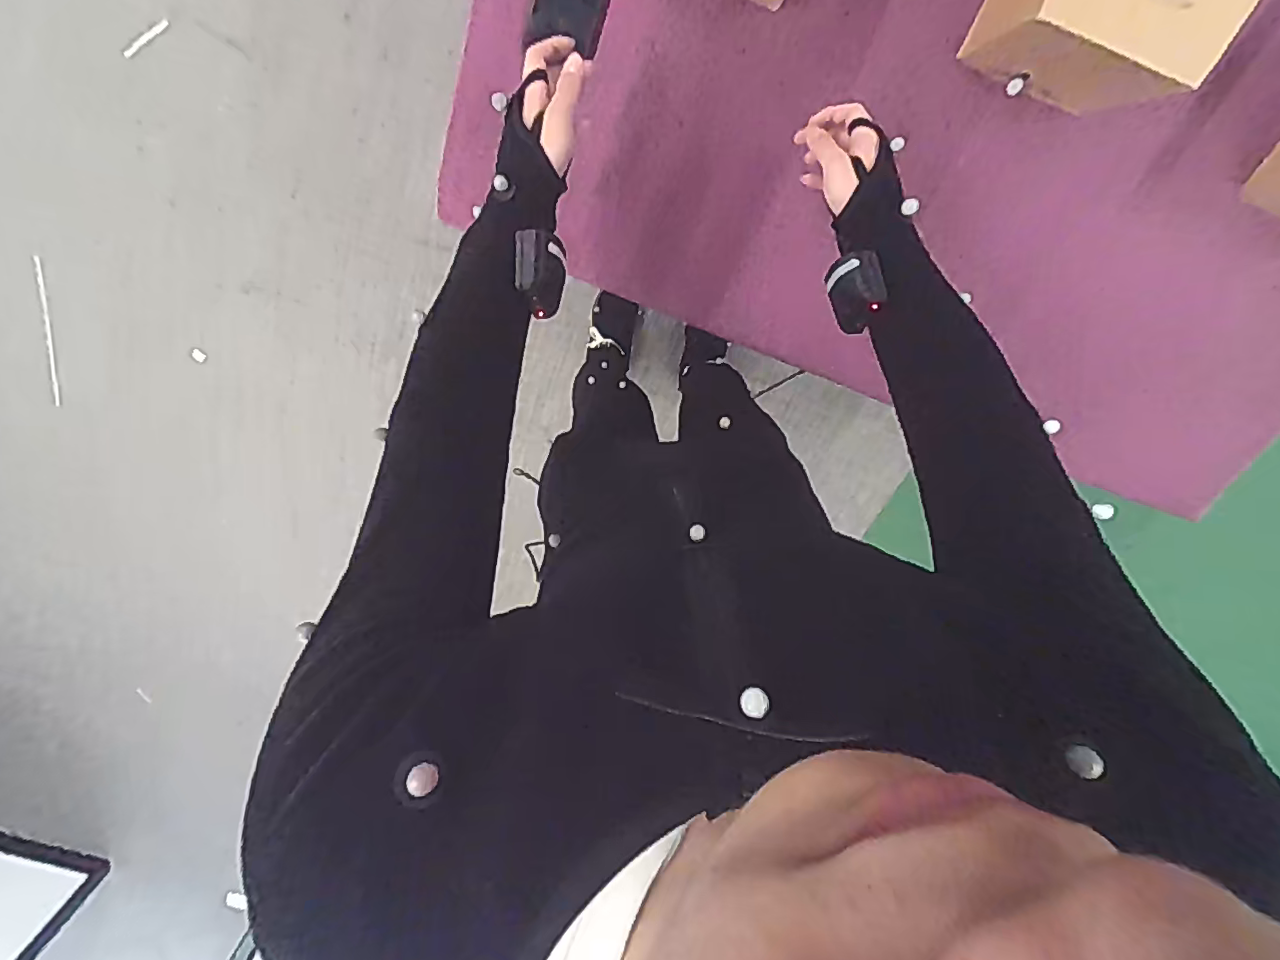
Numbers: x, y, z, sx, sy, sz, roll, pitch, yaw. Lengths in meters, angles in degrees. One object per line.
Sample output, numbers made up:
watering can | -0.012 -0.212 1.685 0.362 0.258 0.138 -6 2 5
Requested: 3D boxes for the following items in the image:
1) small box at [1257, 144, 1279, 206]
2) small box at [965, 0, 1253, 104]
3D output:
small box | 0.810 -0.351 0.533 0.168 0.176 0.179 22 116 -5
small box | 0.446 -0.484 0.498 0.168 0.176 0.179 20 117 -4
